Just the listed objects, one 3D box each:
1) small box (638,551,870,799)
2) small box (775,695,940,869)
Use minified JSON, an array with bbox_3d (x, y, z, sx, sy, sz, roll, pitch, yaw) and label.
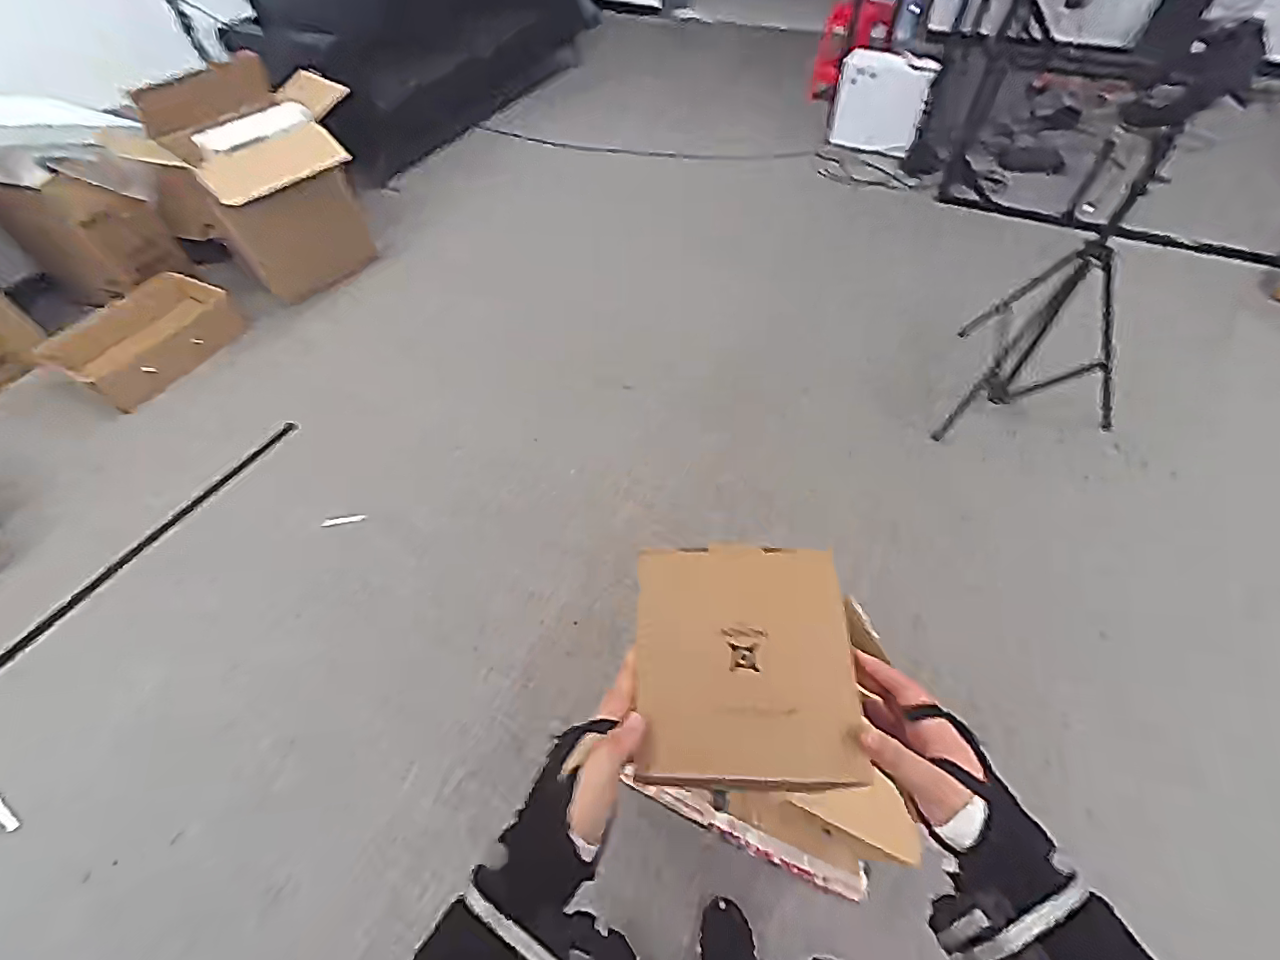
[{"bbox_3d":[0.086,0.180,0.490,0.168,0.176,0.179,0,57,3],"label":"small box"},{"bbox_3d":[0.307,0.431,0.793,0.168,0.176,0.179,22,60,16],"label":"small box"}]
